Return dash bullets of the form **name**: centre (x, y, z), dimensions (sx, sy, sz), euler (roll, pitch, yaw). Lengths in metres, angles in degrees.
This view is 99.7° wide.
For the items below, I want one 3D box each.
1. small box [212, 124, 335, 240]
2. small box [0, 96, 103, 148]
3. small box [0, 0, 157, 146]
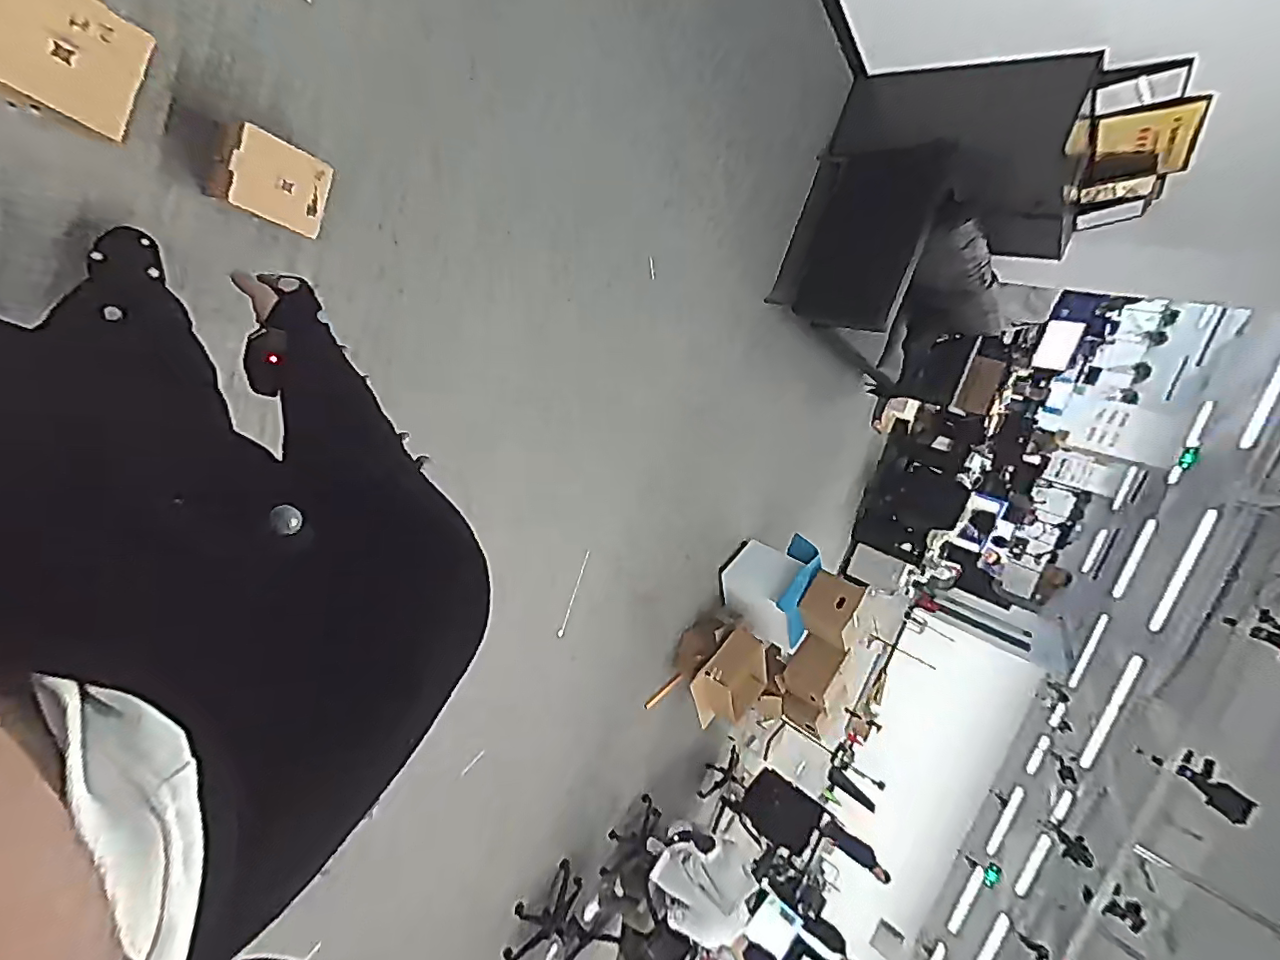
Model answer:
- **small box**: centre (-0.826, -0.659, 1.214), dimensions (0.179, 0.176, 0.168), euler (11, 101, -52)
- **small box**: centre (-1.027, -0.709, 0.940), dimensions (0.168, 0.176, 0.179), euler (16, 96, -53)
- **small box**: centre (-0.904, -0.654, 0.846), dimensions (0.168, 0.176, 0.179), euler (19, 94, -54)
